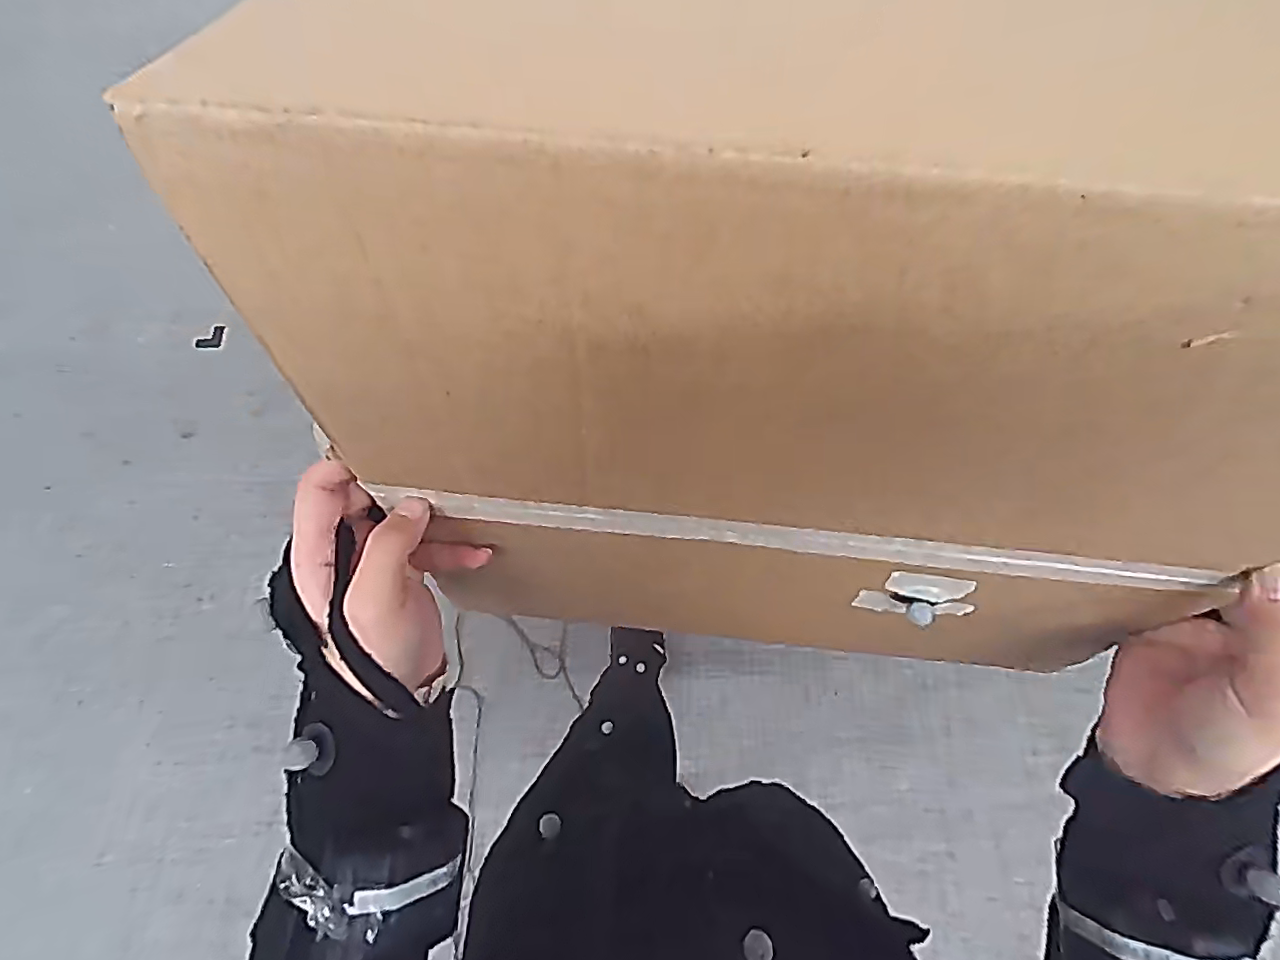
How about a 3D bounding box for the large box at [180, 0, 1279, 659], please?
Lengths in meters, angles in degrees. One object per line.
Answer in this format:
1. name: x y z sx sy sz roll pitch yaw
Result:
1. large box: 0.085 -0.102 0.336 0.408 0.320 0.320 5 57 1
